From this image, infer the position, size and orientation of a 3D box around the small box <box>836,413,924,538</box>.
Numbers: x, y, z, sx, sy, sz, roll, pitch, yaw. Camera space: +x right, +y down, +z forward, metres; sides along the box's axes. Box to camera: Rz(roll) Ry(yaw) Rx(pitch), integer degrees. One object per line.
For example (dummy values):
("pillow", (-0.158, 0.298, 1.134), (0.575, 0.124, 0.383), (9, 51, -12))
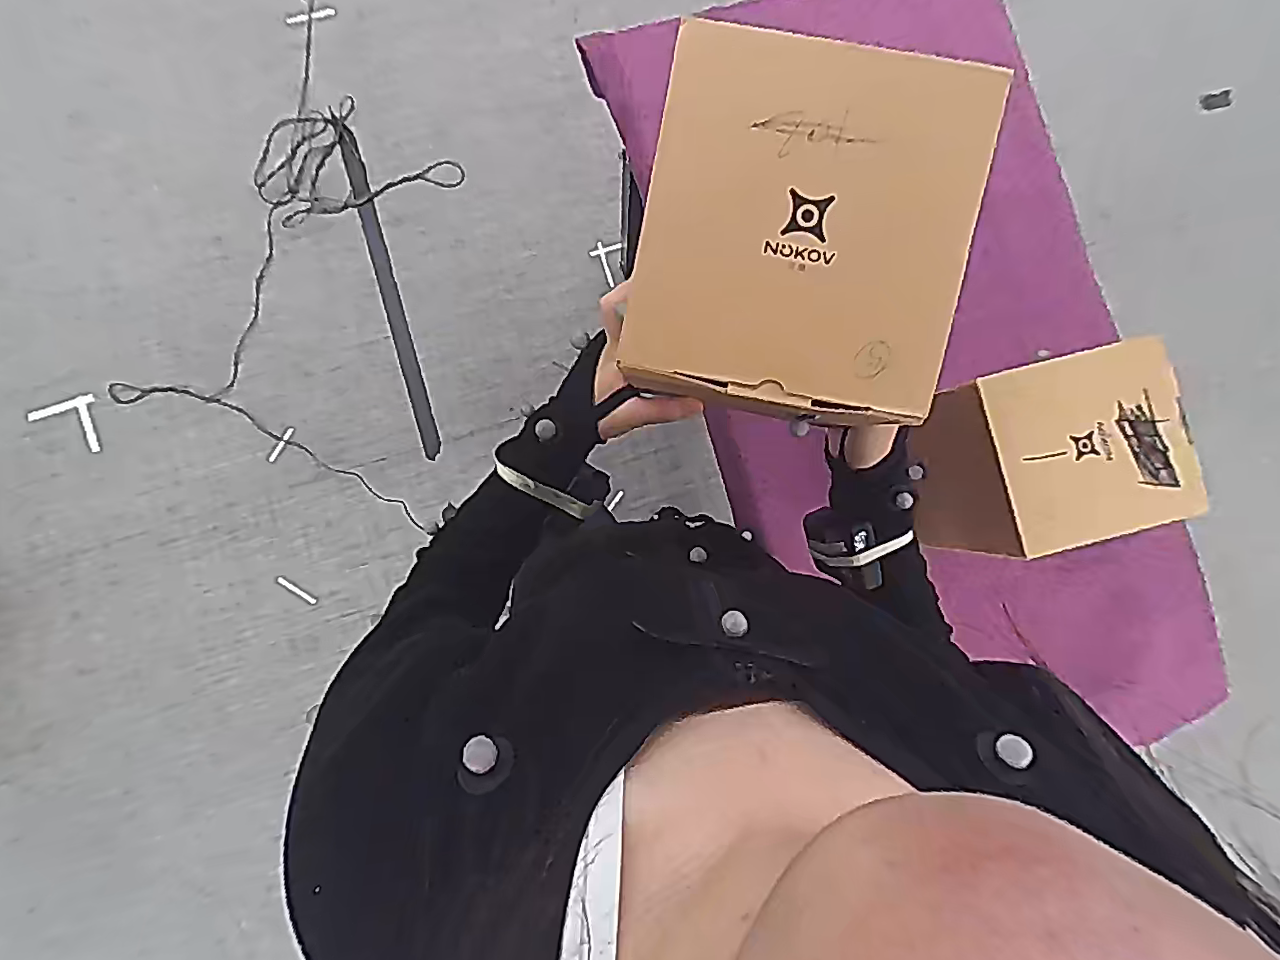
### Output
("small box", (0.380, -0.024, 0.717), (0.179, 0.176, 0.168), (-14, 88, -4))

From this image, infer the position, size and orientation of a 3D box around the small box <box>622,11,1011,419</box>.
("small box", (0.089, -0.138, 0.351), (0.168, 0.176, 0.179), (10, 95, 1))

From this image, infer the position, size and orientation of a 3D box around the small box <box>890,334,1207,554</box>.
("small box", (0.394, -0.030, 0.553), (0.179, 0.176, 0.168), (-14, 88, -3))
